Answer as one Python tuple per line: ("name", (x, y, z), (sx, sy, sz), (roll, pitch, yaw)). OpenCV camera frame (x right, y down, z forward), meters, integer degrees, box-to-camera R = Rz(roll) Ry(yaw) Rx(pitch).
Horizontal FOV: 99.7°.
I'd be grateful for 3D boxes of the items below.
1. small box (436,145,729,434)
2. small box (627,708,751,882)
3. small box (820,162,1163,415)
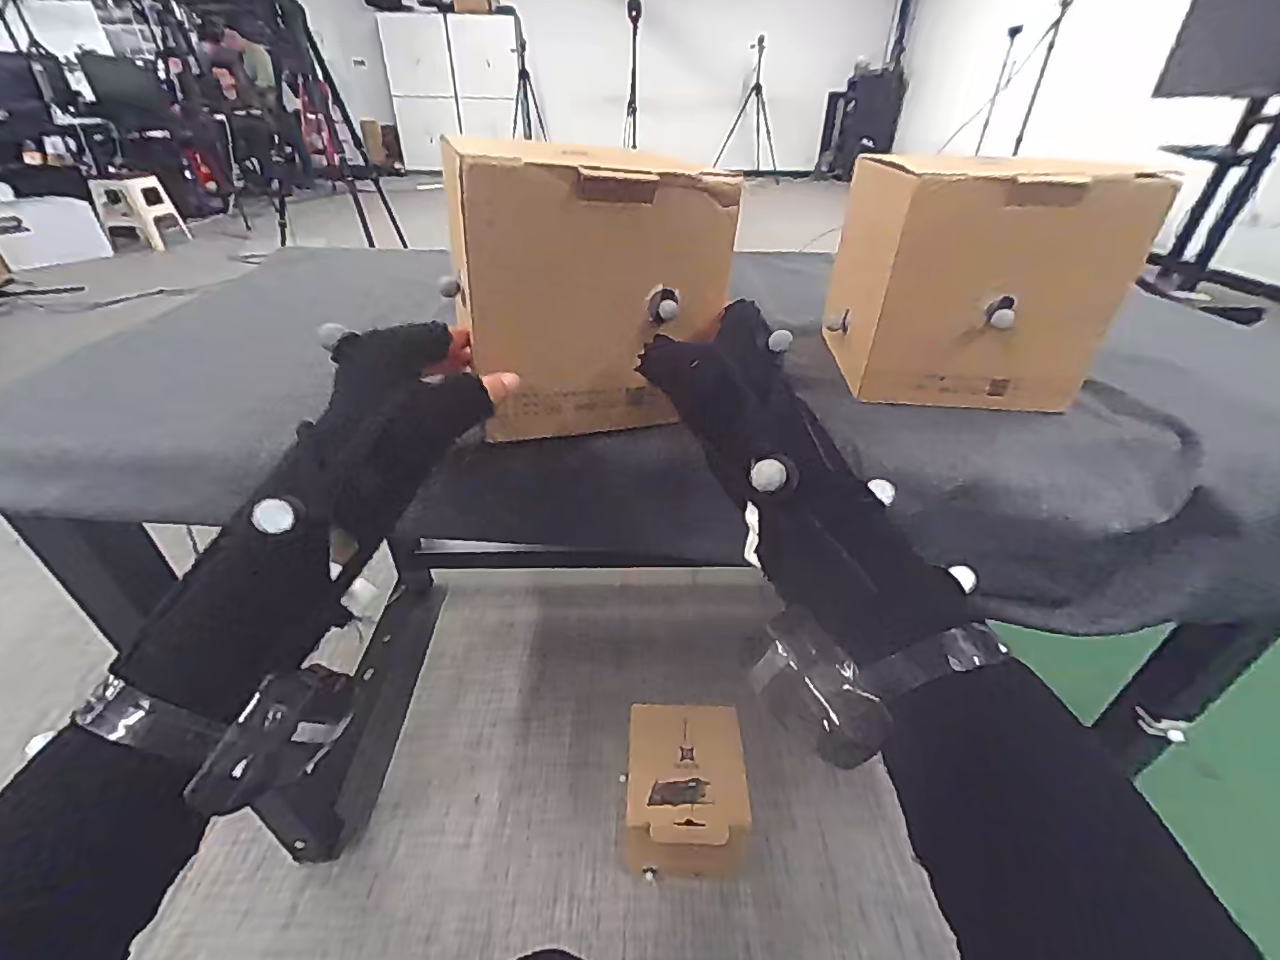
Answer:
("small box", (-0.055, -0.142, 0.406), (0.168, 0.176, 0.179), (-6, 35, -20))
("small box", (0.069, 0.473, 0.814), (0.168, 0.176, 0.179), (1, 33, 2))
("small box", (0.263, -0.167, 0.463), (0.168, 0.176, 0.179), (3, 35, 5))
